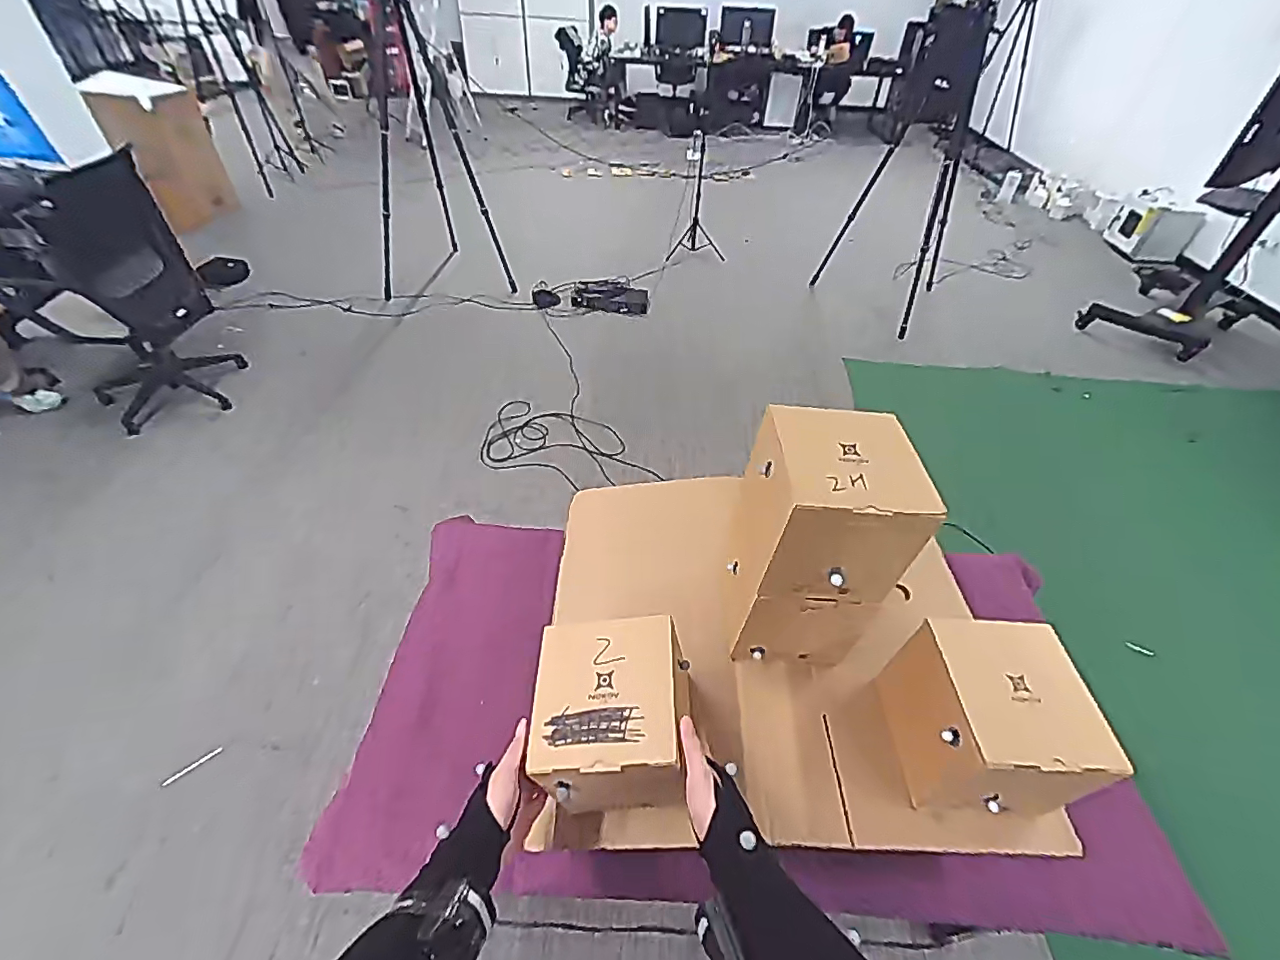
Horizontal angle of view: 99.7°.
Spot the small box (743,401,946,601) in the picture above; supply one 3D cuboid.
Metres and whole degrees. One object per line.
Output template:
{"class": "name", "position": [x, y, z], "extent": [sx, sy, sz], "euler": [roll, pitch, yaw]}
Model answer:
{"class": "small box", "position": [0.233, 0.027, 0.674], "extent": [0.168, 0.176, 0.179], "euler": [4, 46, -3]}

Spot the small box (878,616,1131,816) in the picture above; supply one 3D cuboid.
{"class": "small box", "position": [0.424, 0.293, 0.672], "extent": [0.168, 0.176, 0.179], "euler": [5, 46, -3]}

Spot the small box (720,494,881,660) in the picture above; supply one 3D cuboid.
{"class": "small box", "position": [0.218, 0.144, 0.788], "extent": [0.168, 0.176, 0.179], "euler": [5, 44, -4]}
